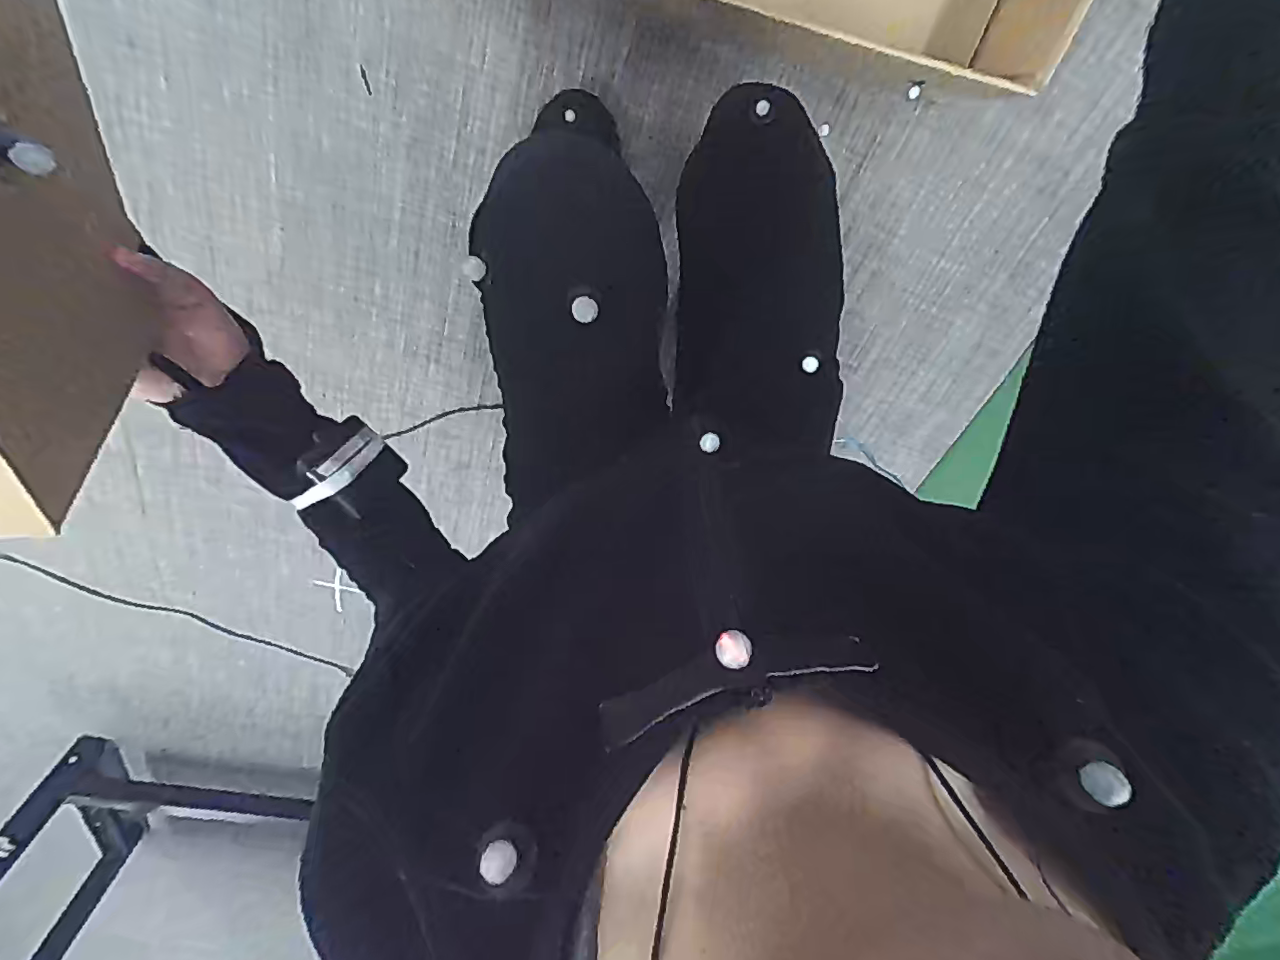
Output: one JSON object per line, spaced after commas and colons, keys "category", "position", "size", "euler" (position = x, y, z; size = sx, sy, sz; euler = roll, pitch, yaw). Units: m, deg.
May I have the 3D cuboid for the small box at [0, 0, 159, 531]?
{"category": "small box", "position": [-0.327, -0.097, 0.205], "size": [0.168, 0.176, 0.179], "euler": [1, 137, -24]}
